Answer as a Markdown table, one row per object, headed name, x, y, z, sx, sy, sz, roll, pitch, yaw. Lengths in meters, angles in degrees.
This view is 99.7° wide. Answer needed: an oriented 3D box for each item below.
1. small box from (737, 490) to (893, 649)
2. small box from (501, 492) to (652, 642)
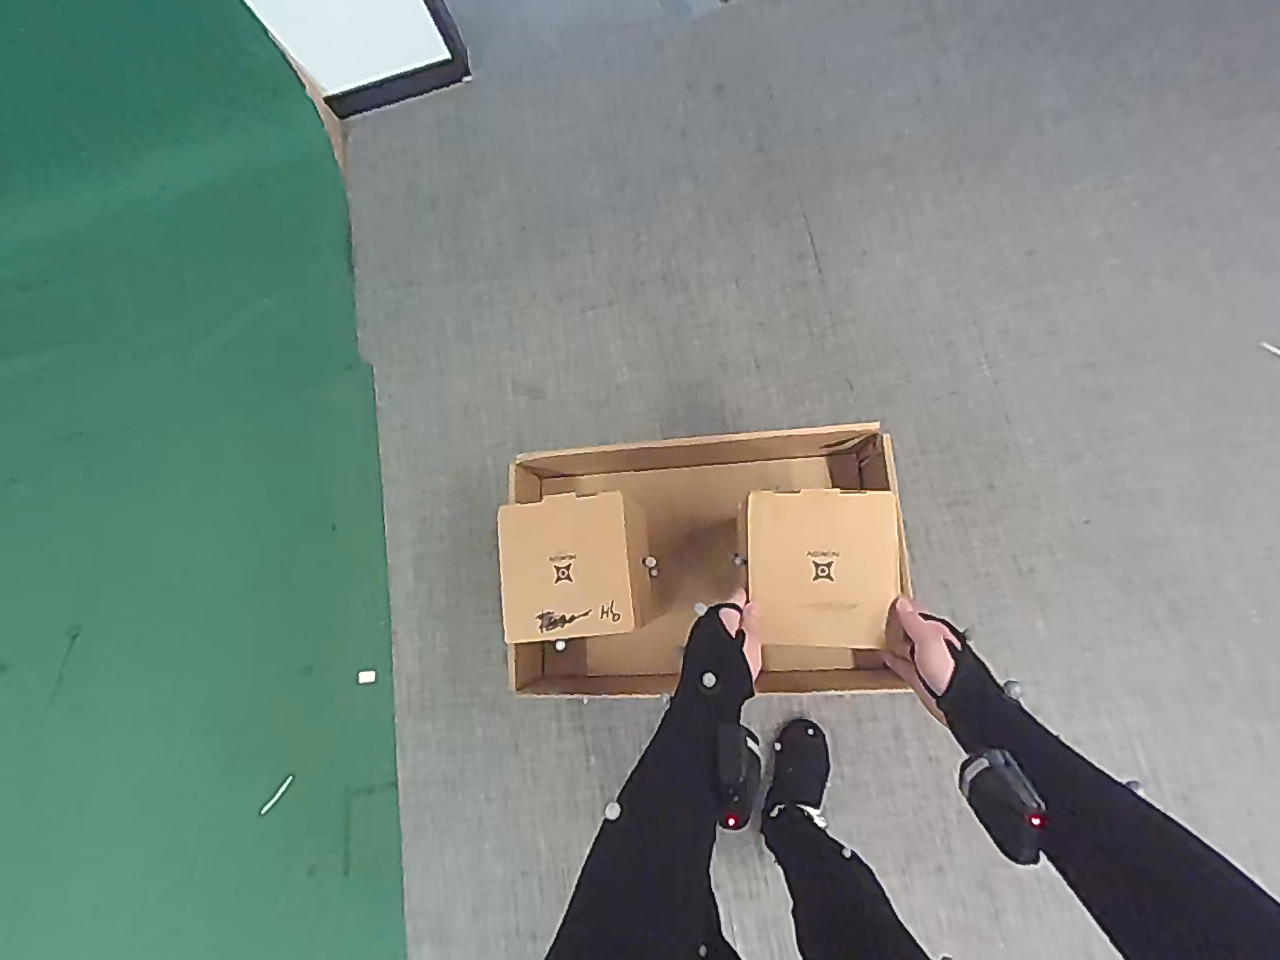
| name | x | y | z | sx | sy | sz | roll | pitch | yaw |
| --- | --- | --- | --- | --- | --- | --- | --- | --- | --- |
| small box | 0.210 | 0.109 | 0.690 | 0.168 | 0.176 | 0.179 | 0 | 83 | 9 |
| small box | -0.082 | 0.124 | 0.758 | 0.168 | 0.176 | 0.179 | -8 | 78 | 10 |
